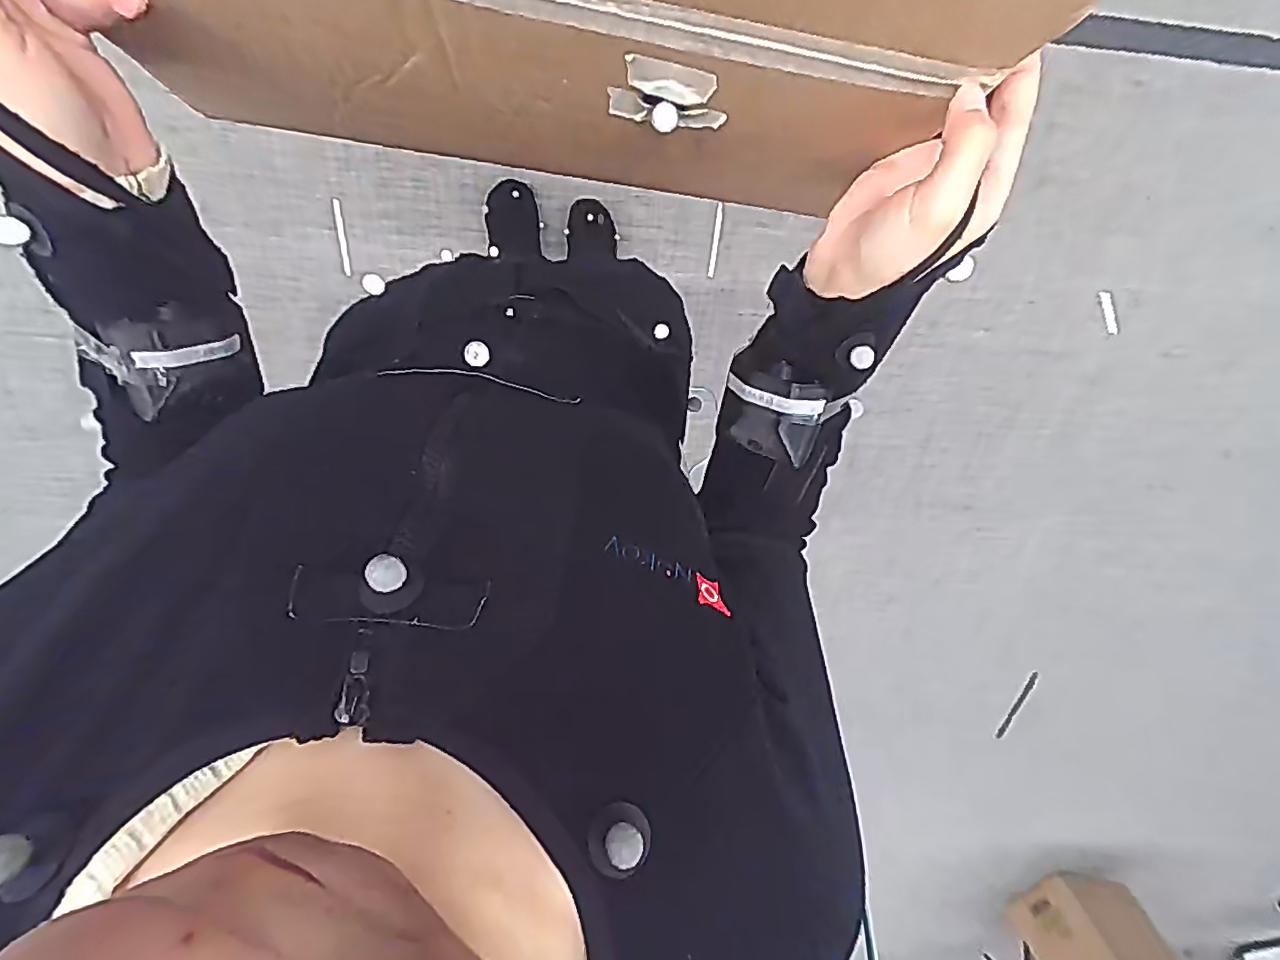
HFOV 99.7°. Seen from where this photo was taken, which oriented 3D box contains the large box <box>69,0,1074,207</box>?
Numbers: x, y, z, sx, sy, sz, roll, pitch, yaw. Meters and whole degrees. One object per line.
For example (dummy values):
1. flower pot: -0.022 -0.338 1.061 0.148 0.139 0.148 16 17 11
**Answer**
1. large box: -0.036 -0.342 0.196 0.408 0.320 0.320 4 96 -8
